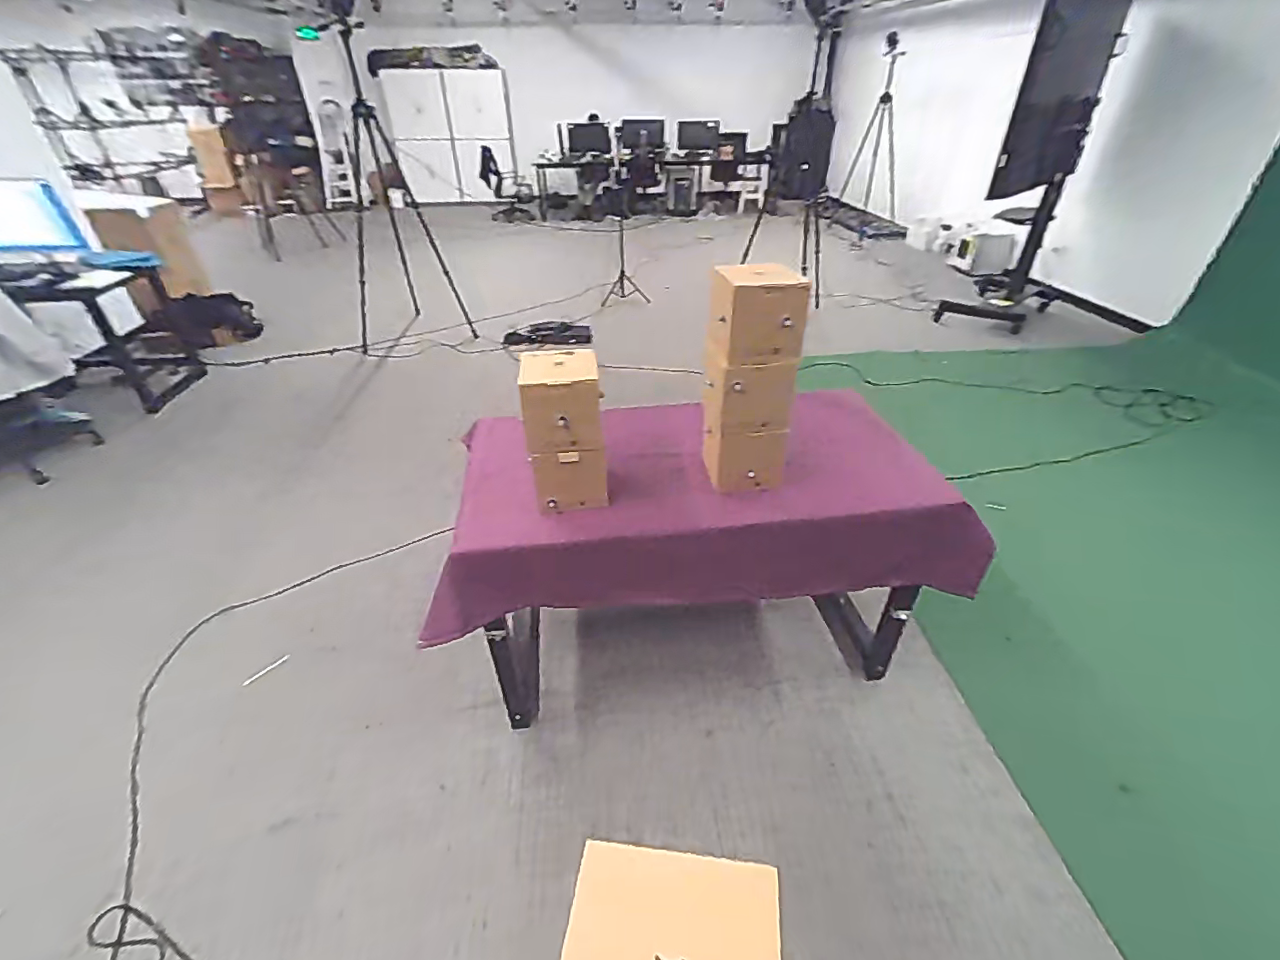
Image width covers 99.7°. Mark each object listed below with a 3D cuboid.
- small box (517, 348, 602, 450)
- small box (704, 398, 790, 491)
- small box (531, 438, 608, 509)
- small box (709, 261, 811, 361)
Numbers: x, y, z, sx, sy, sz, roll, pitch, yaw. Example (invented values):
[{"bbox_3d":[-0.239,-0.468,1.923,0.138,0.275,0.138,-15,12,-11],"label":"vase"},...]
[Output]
[{"bbox_3d":[-0.174,-0.177,1.204,0.168,0.176,0.179,-4,36,-5],"label":"small box"},{"bbox_3d":[0.259,-0.091,1.355,0.168,0.176,0.179,-4,36,-4],"label":"small box"},{"bbox_3d":[-0.168,-0.043,1.299,0.168,0.176,0.179,-5,35,-7],"label":"small box"},{"bbox_3d":[0.251,-0.363,1.172,0.168,0.176,0.179,-5,35,-7],"label":"small box"}]
